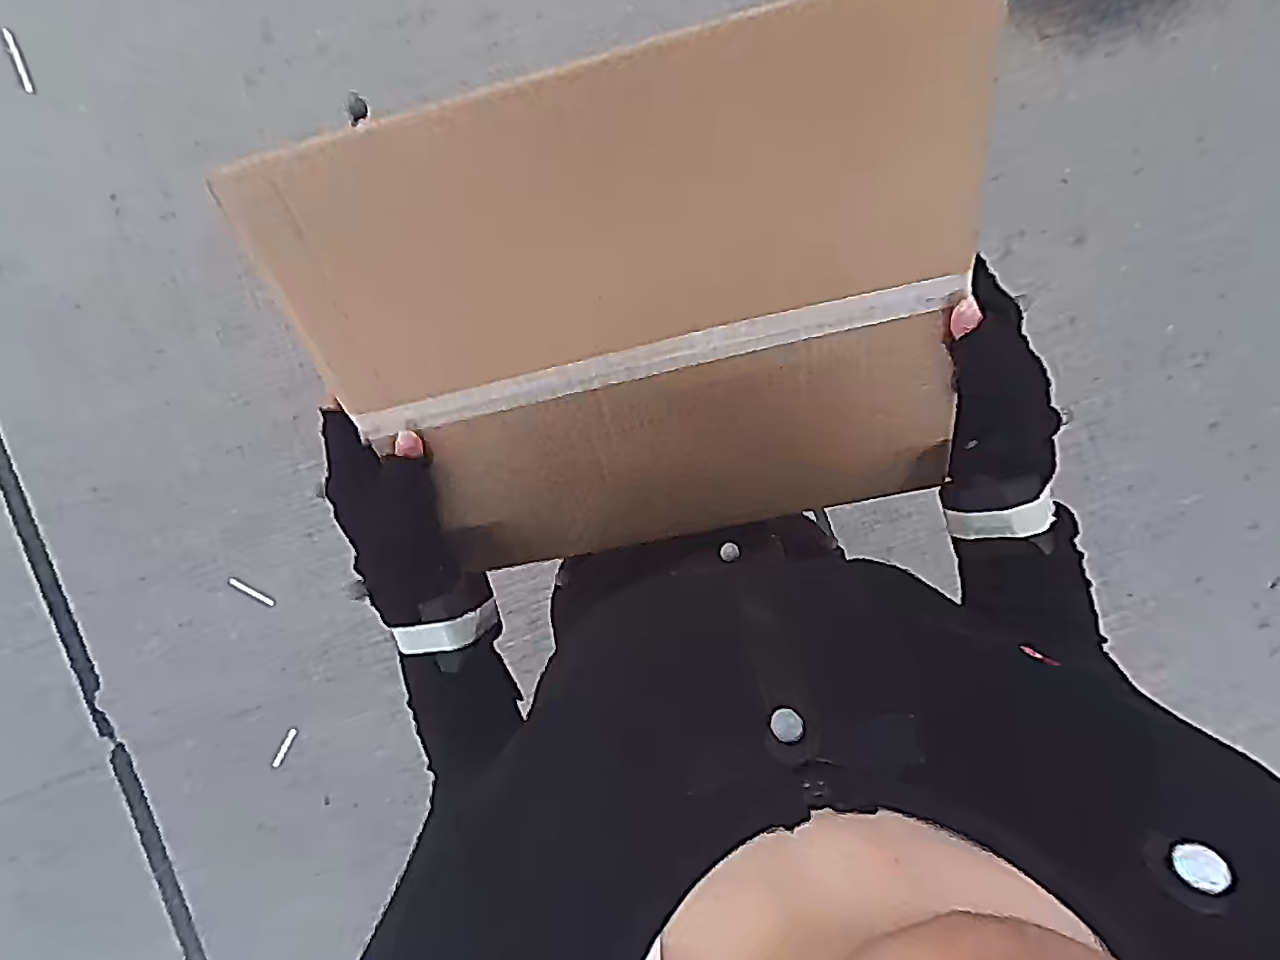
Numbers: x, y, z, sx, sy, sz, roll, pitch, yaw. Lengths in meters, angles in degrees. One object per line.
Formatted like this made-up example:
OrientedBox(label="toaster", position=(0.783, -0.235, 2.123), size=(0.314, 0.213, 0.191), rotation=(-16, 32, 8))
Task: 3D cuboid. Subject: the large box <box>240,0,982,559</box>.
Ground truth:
OrientedBox(label="large box", position=(-0.005, -0.176, 0.481), size=(0.408, 0.320, 0.320), rotation=(-11, 128, 6))
